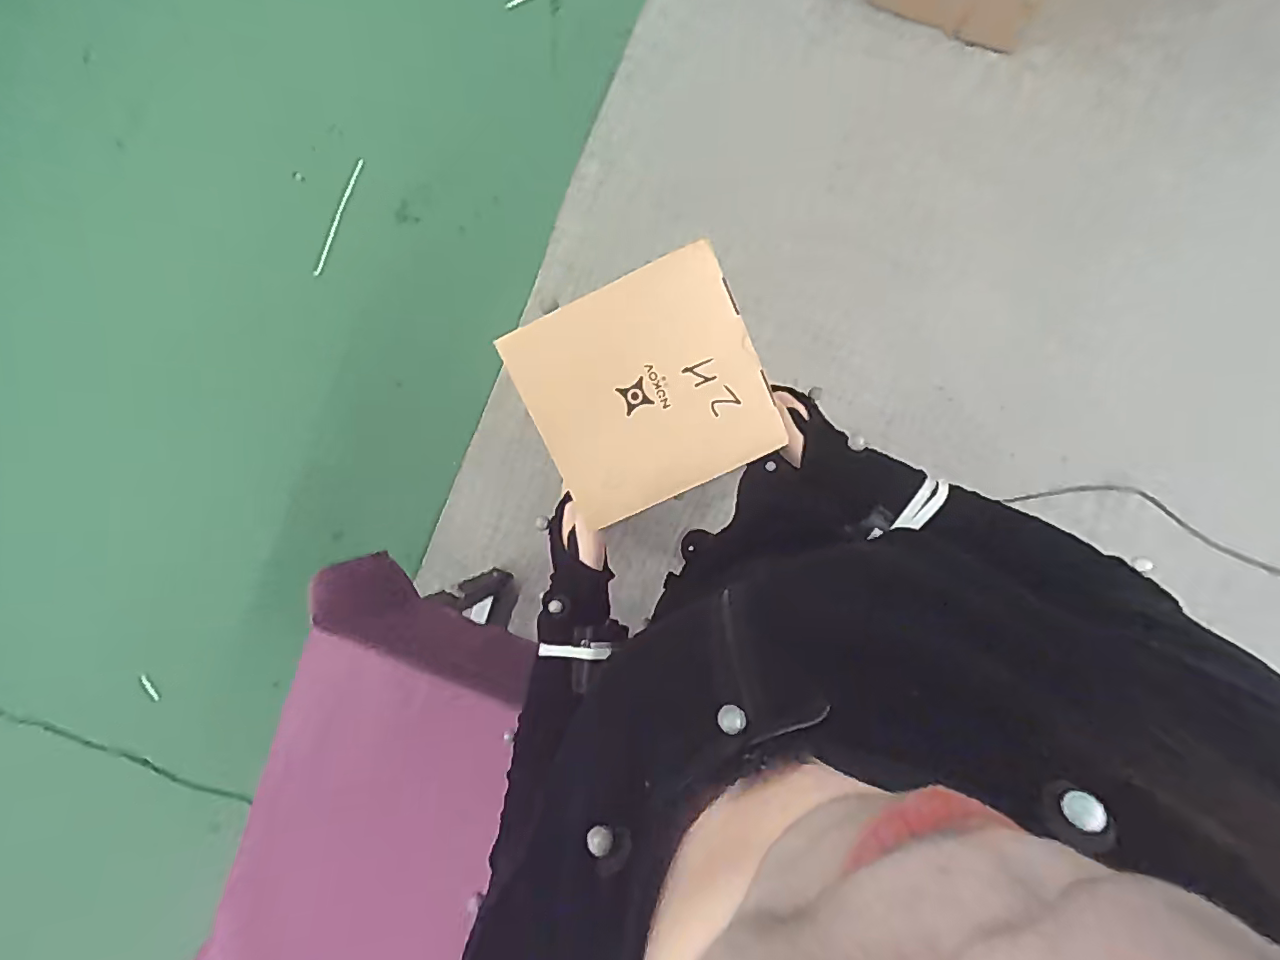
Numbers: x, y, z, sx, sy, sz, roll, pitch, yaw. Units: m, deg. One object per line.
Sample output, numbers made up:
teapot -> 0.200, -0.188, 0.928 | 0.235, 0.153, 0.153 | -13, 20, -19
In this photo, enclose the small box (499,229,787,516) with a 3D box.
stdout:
small box -> 0.005, -0.090, 0.482 | 0.179, 0.176, 0.168 | -23, 101, 4
